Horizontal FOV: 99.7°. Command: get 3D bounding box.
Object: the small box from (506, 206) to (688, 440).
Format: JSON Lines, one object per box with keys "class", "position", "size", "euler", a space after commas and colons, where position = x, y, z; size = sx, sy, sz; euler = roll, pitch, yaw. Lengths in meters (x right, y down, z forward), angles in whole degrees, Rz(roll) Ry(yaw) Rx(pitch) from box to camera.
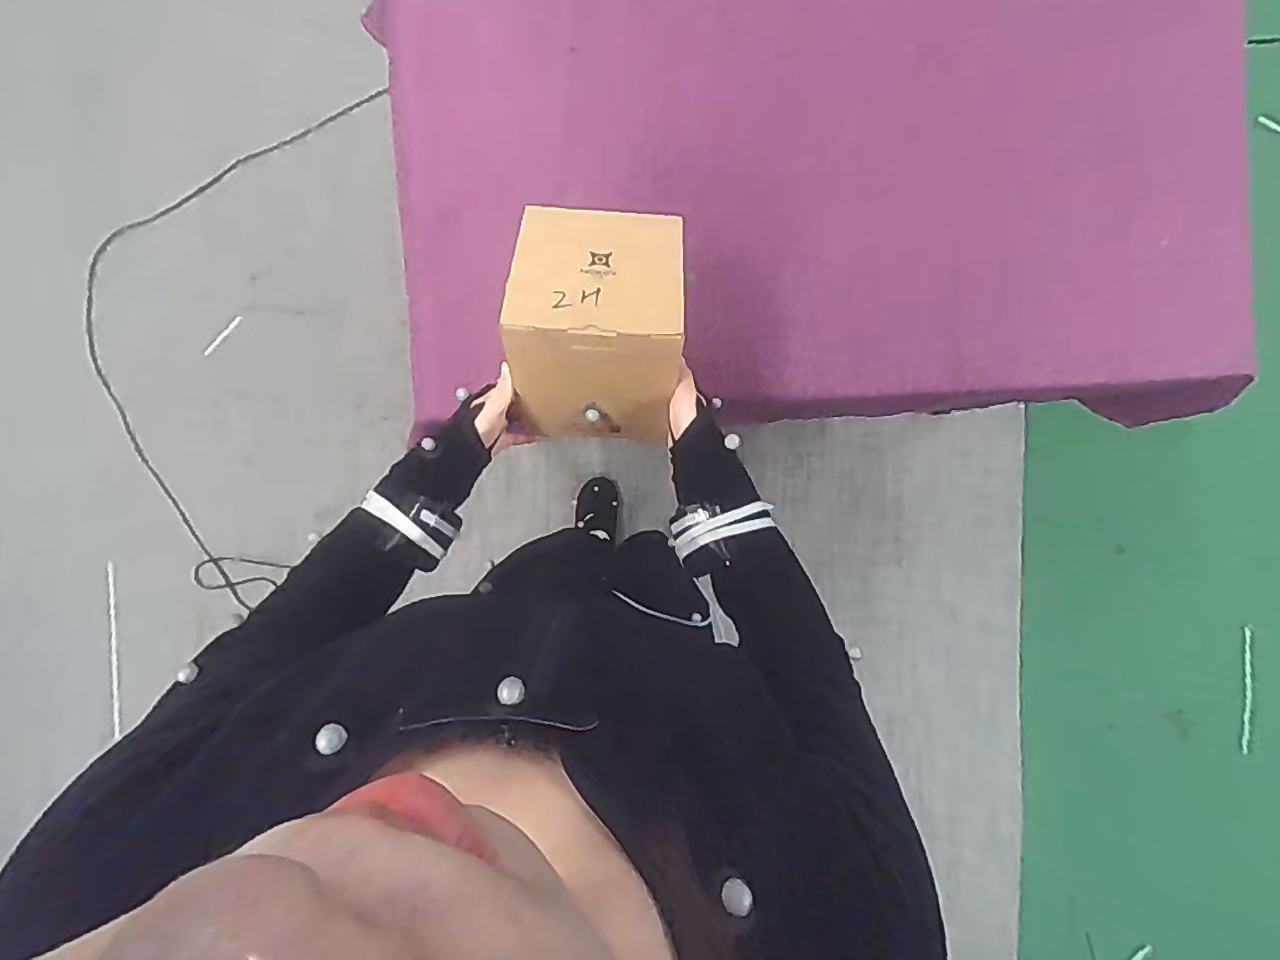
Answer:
{"class": "small box", "position": [-0.040, -0.166, 0.592], "size": [0.168, 0.176, 0.179], "euler": [3, 60, -1]}
